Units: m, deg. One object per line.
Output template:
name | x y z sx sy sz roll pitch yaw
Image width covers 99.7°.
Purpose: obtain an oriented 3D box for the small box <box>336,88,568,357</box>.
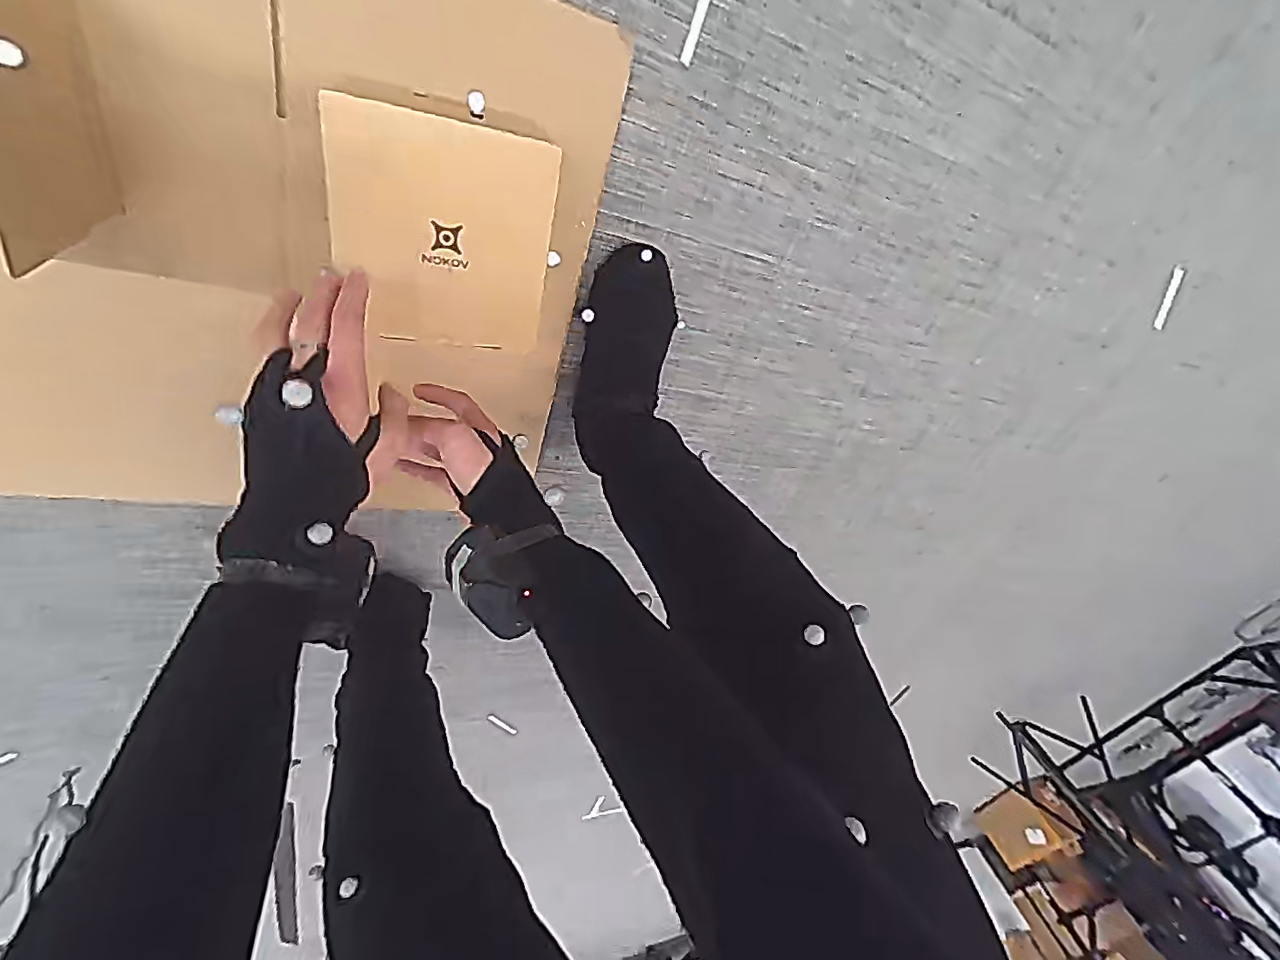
small box | -0.173 -0.235 0.497 0.168 0.176 0.179 1 128 -21
